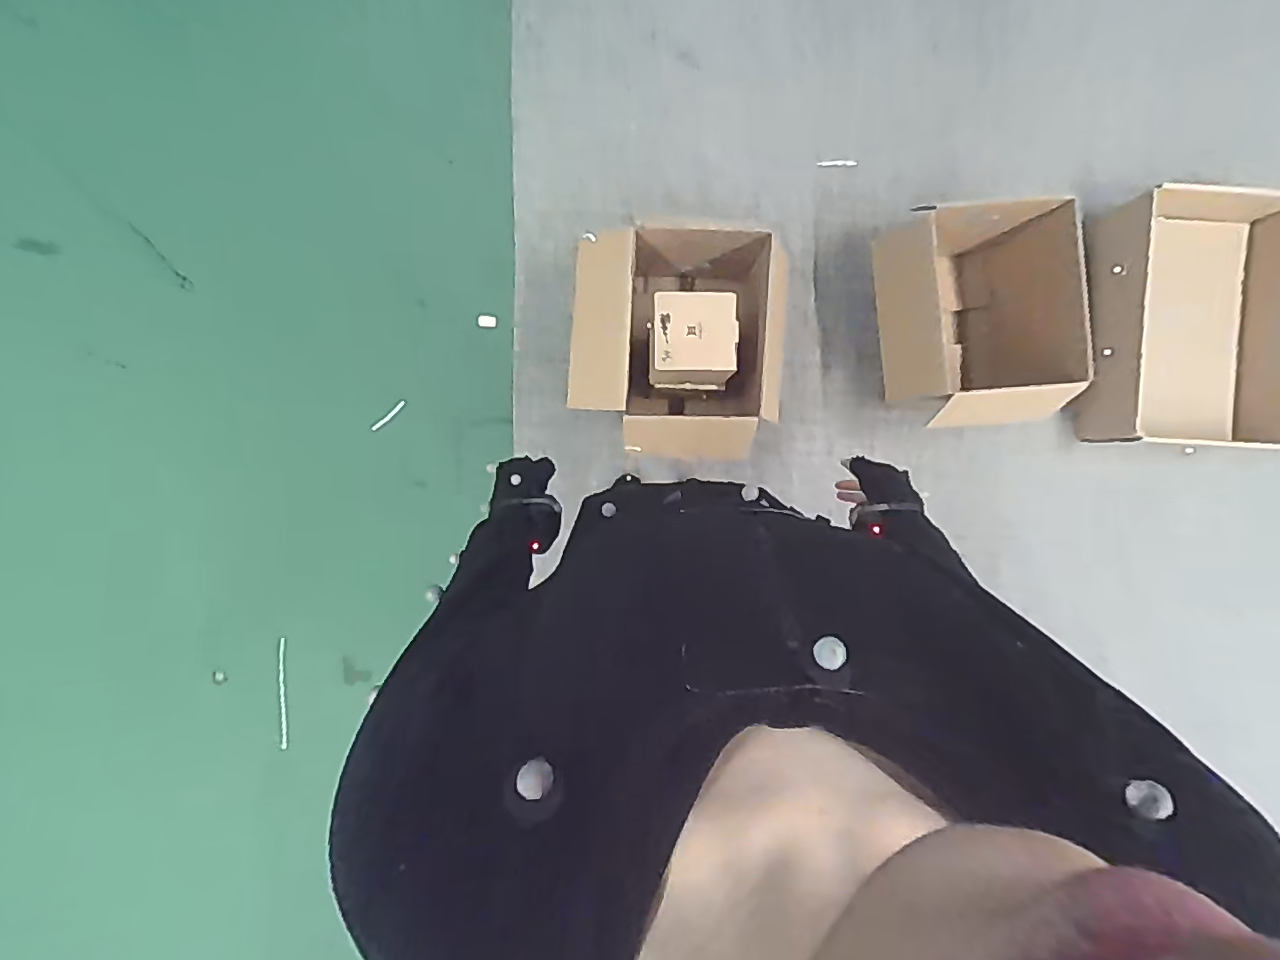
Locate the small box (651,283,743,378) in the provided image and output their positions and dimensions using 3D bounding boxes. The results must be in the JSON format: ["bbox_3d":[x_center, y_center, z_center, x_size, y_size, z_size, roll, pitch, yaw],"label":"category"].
[{"bbox_3d":[0.121,-0.324,1.200,0.179,0.176,0.168,1,90,-3],"label":"small box"}]
